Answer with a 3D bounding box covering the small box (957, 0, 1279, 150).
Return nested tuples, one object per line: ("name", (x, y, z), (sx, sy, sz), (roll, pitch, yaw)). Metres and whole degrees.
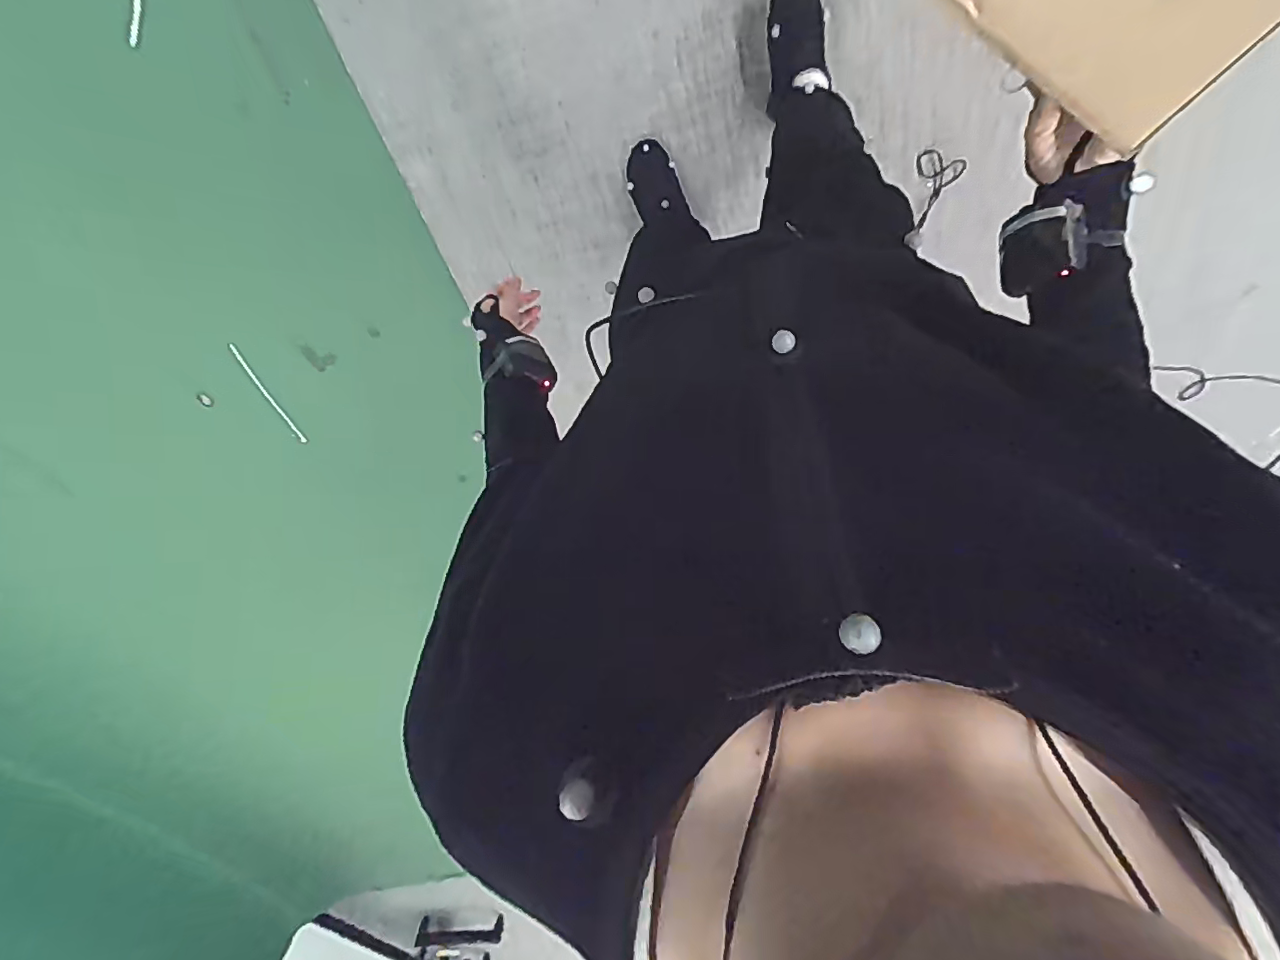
("small box", (0.294, -0.332, 0.297), (0.176, 0.168, 0.179), (37, 140, -2))
